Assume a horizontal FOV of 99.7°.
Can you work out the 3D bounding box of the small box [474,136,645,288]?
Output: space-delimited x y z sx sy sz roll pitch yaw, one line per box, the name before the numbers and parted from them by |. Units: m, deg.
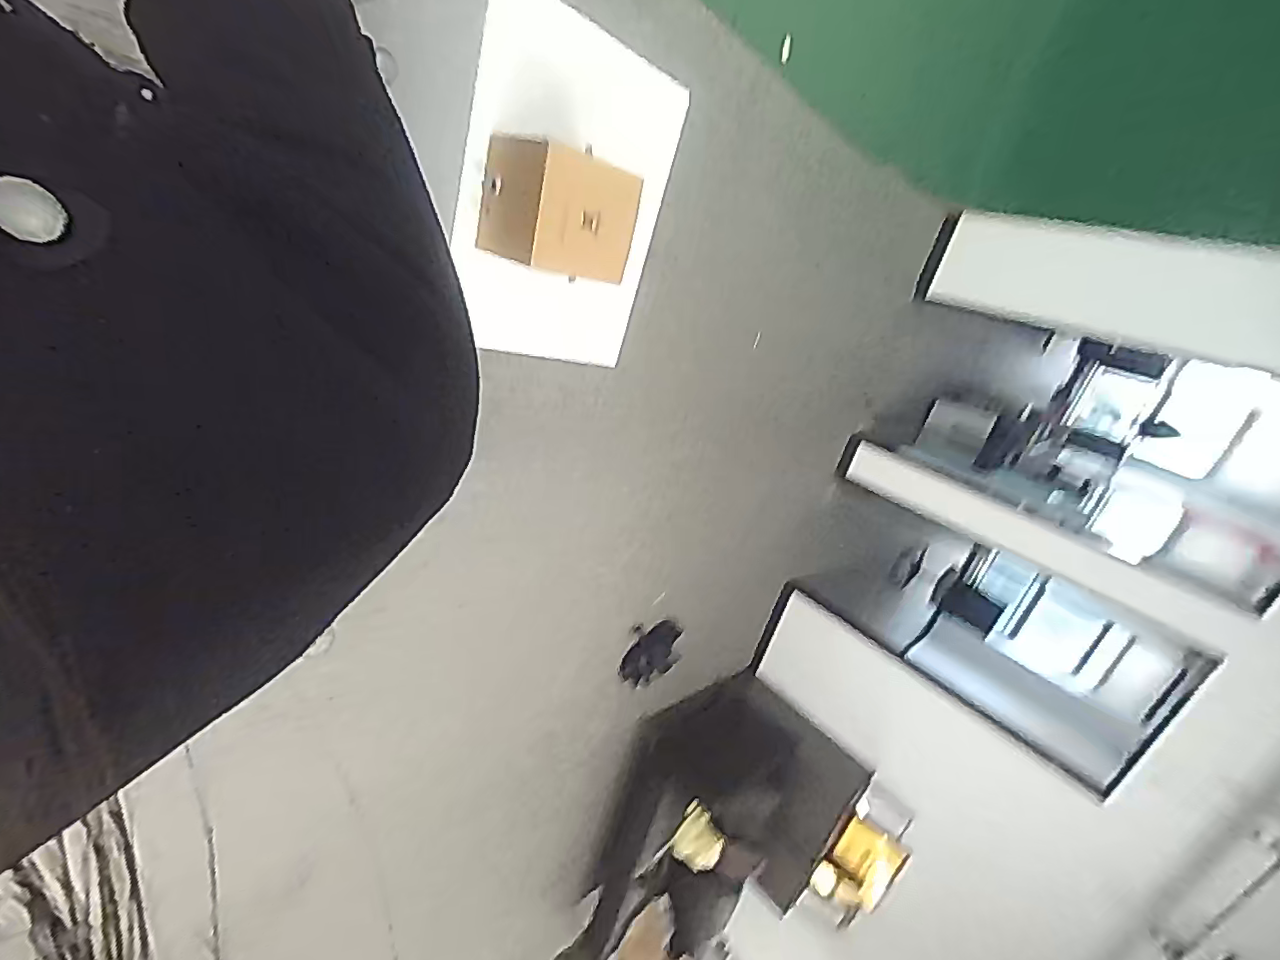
small box | -0.125 -0.403 0.816 0.179 0.176 0.168 -8 121 -42
